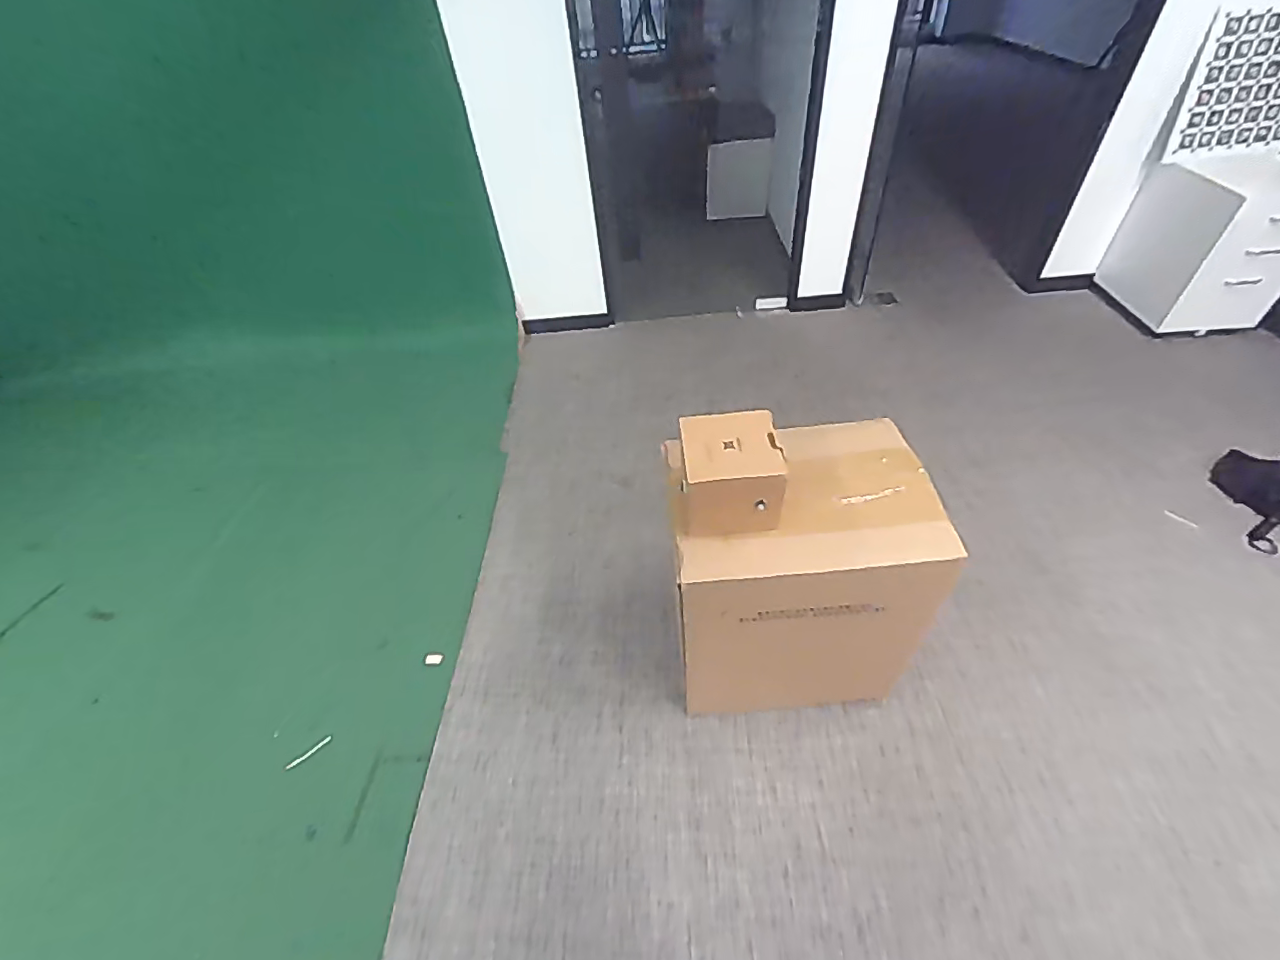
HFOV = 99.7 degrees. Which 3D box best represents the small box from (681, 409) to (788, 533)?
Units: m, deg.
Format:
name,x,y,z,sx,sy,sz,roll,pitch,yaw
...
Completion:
name,x,y,z,sx,sy,sz,roll,pitch,yaw
small box,0.175,-0.014,1.045,0.179,0.176,0.168,-7,50,3
